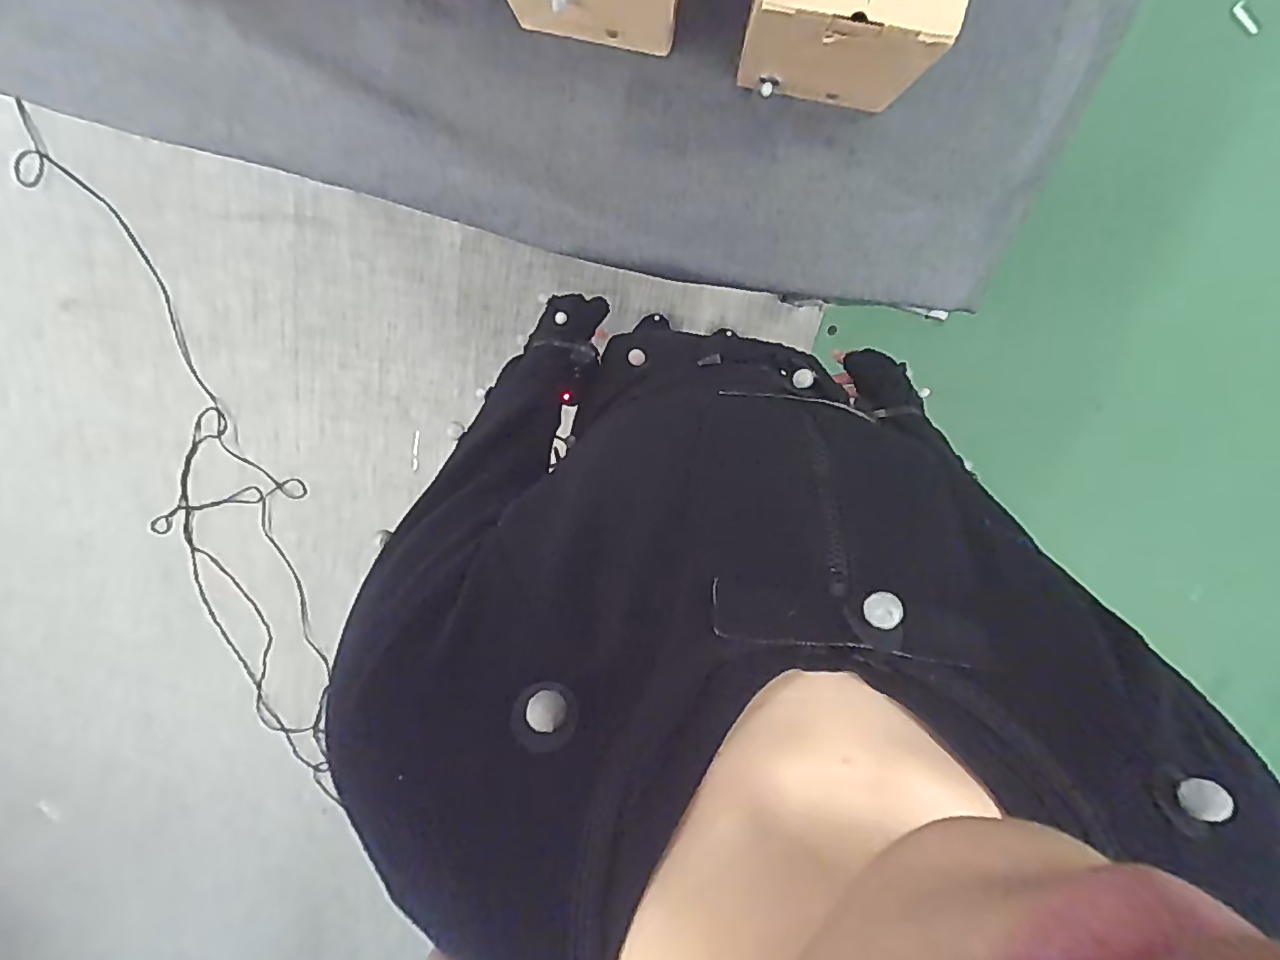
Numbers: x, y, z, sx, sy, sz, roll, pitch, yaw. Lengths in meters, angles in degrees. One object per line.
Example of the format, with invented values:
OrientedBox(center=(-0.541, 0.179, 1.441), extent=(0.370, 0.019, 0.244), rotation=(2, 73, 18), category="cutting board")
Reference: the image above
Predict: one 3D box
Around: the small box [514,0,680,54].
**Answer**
OrientedBox(center=(-0.037, -0.527, 0.484), extent=(0.168, 0.176, 0.179), rotation=(11, 107, 0), category="small box")
